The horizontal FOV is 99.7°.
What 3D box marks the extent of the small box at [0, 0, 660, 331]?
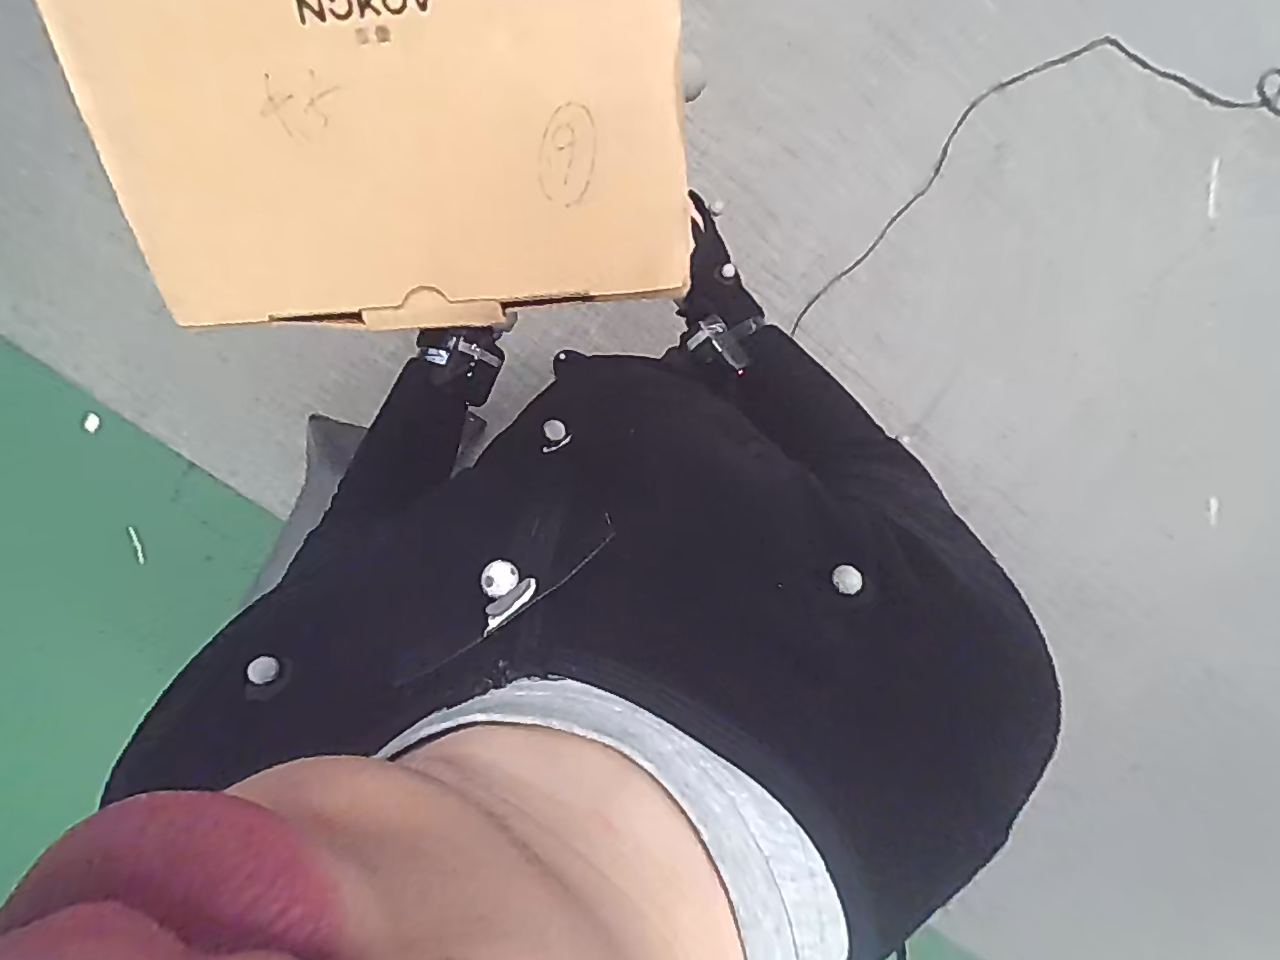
[{"bbox_3d":[-0.077,-0.163,0.203,0.168,0.176,0.179,-3,115,1],"label":"small box"}]
